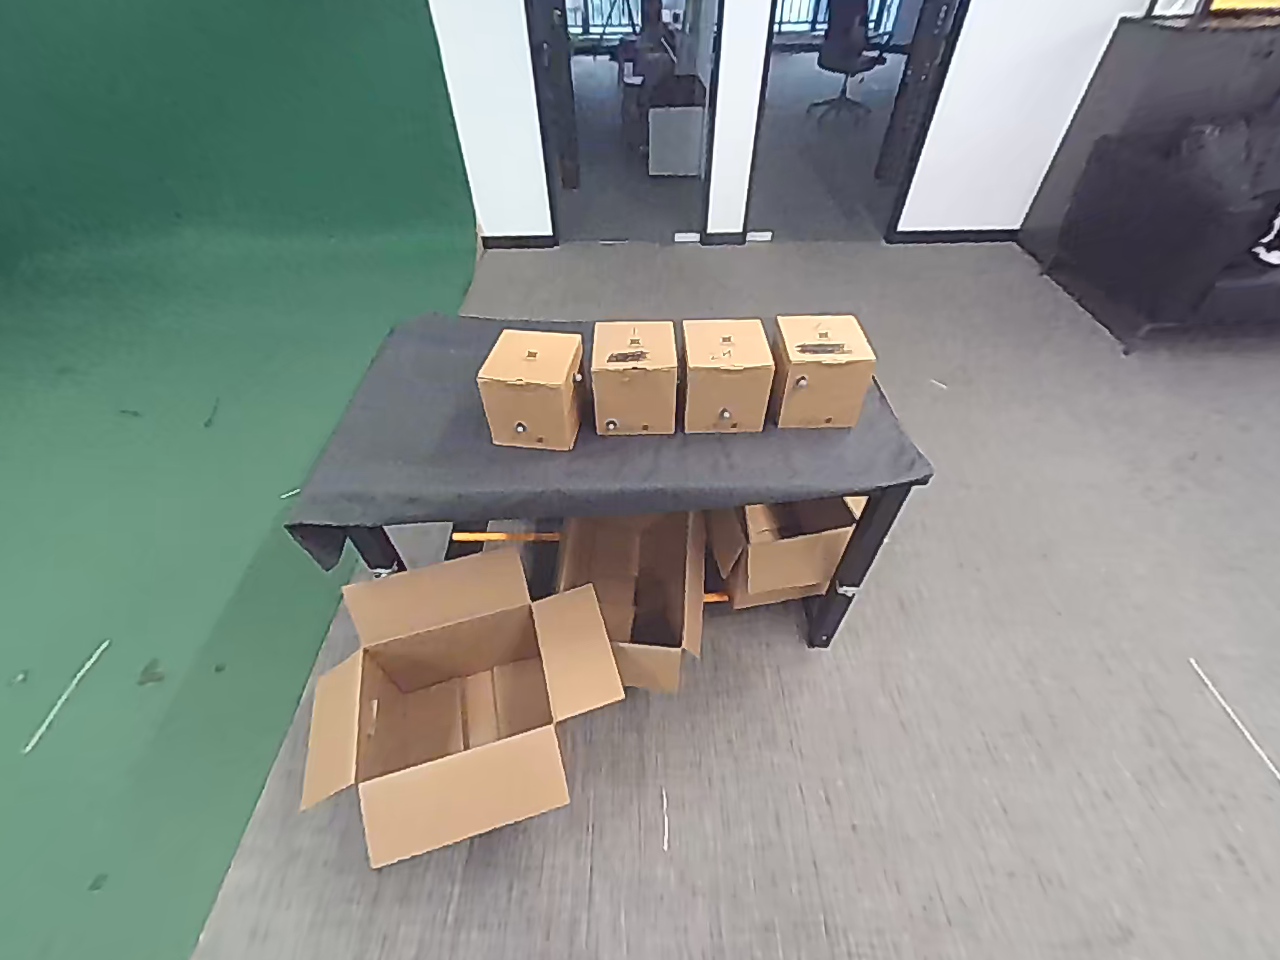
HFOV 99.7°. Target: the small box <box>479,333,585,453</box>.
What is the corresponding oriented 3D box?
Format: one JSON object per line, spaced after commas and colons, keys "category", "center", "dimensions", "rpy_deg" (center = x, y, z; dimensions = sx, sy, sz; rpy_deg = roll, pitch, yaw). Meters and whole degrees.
{"category": "small box", "center": [-0.211, -0.179, 1.114], "dimensions": [0.168, 0.176, 0.179], "rpy_deg": [5, 47, 5]}
